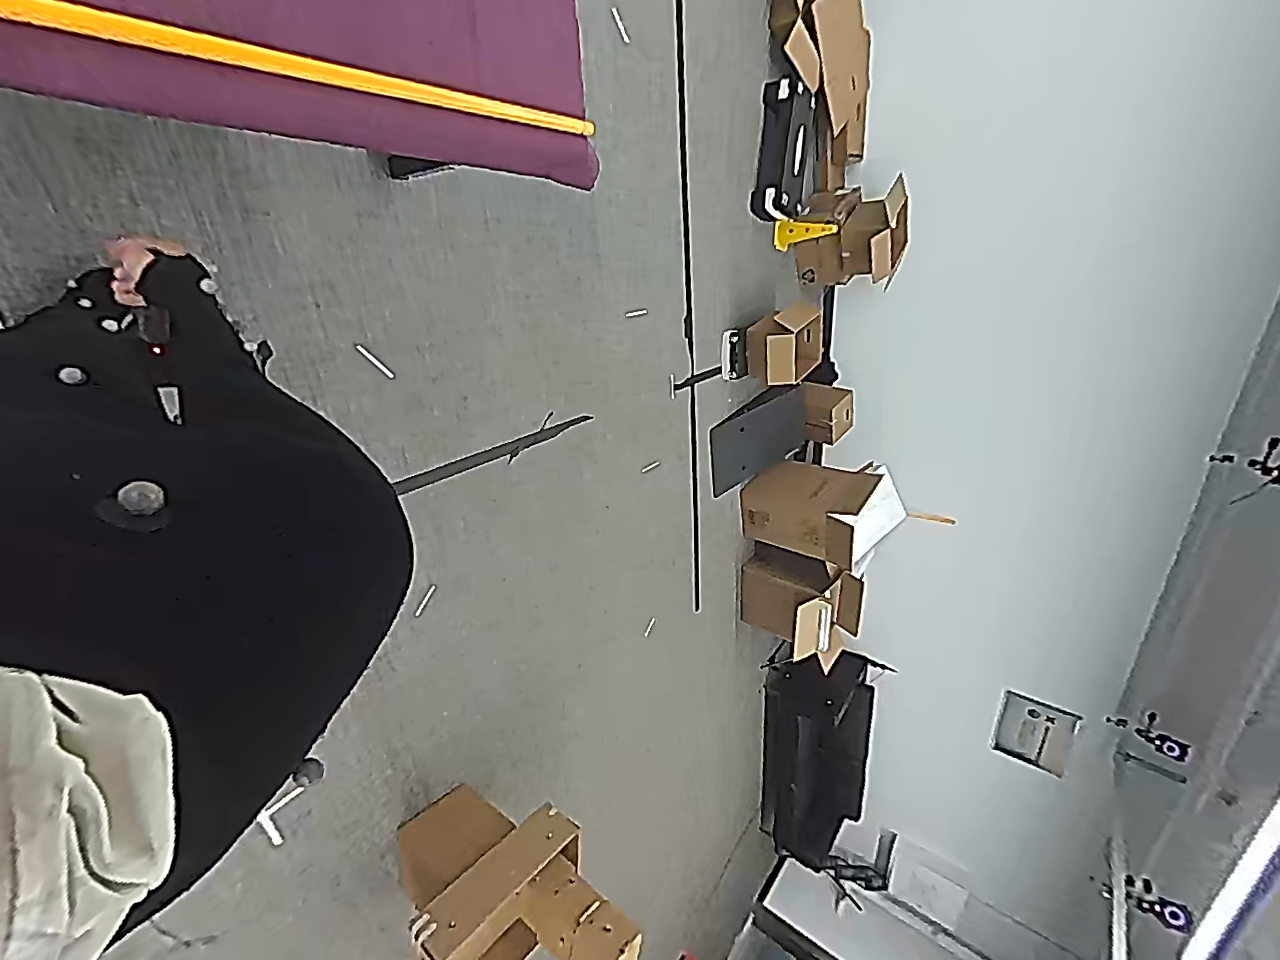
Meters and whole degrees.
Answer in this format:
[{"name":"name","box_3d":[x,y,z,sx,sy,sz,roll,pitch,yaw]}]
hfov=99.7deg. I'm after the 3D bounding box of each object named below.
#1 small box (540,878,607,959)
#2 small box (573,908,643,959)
[{"name":"small box","box_3d":[-0.240,1.578,1.933,0.168,0.176,0.179,-7,109,-52]},{"name":"small box","box_3d":[-0.113,1.608,1.834,0.168,0.176,0.179,-1,103,-53]}]
